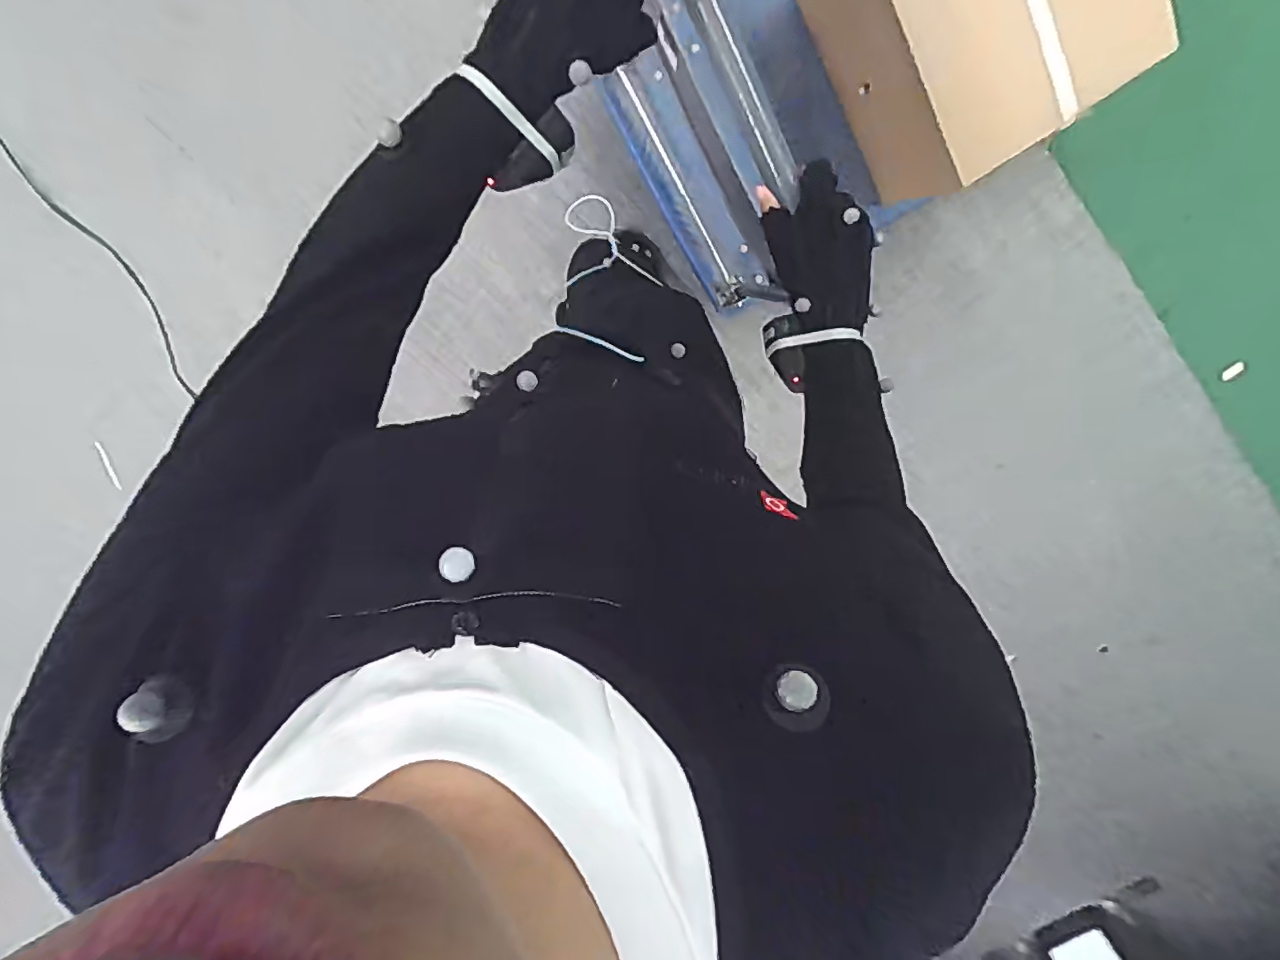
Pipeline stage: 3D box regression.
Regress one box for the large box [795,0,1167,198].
[{"bbox_3d":[0.498,-0.732,0.856,0.320,0.320,0.408,-30,109,13],"label":"large box"}]
